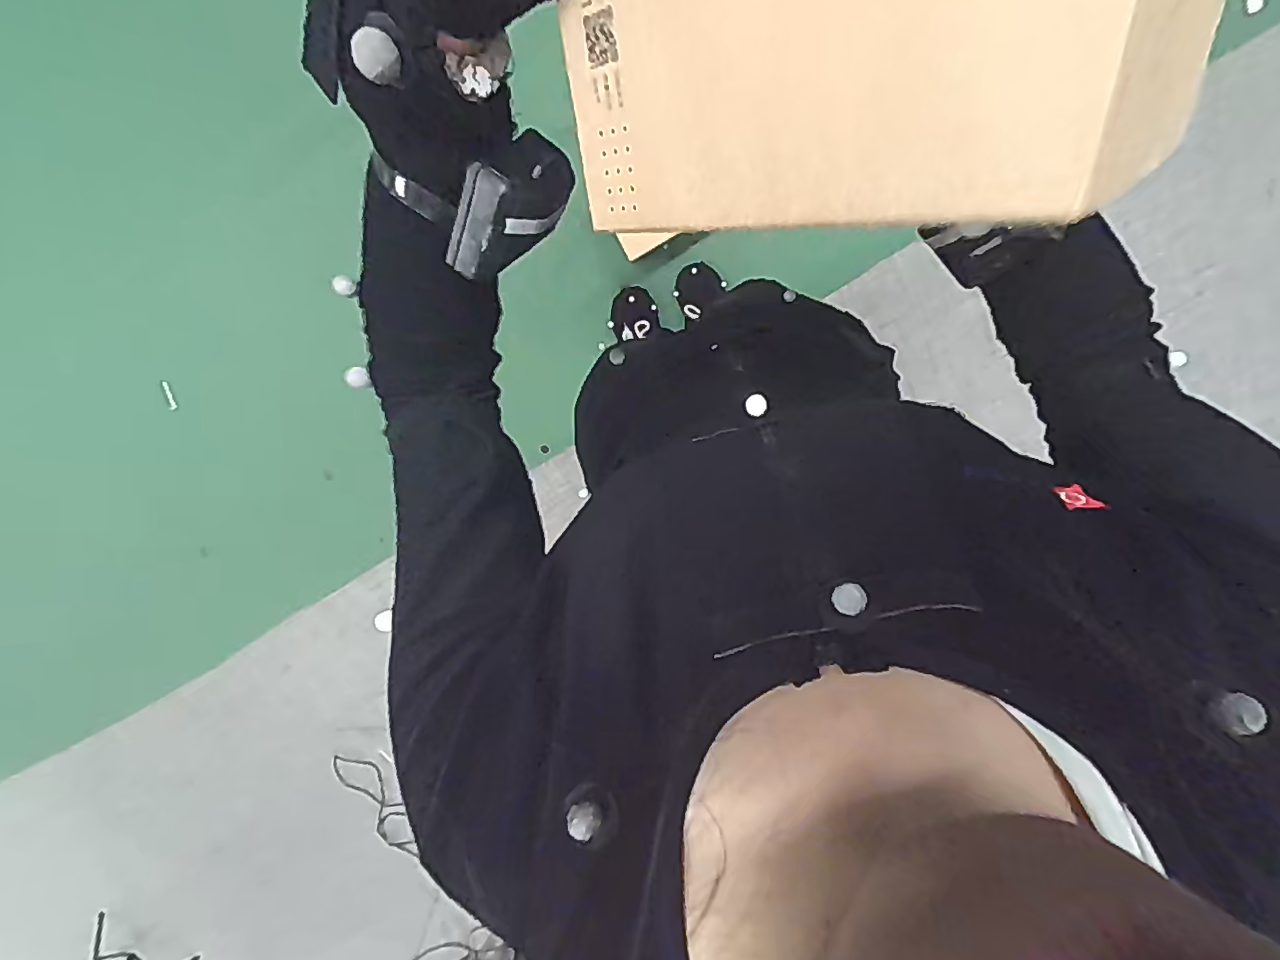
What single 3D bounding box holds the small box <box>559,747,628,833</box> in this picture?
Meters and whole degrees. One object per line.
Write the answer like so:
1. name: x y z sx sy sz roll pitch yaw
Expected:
1. small box: -0.159 1.065 1.867 0.179 0.176 0.168 -34 109 13
